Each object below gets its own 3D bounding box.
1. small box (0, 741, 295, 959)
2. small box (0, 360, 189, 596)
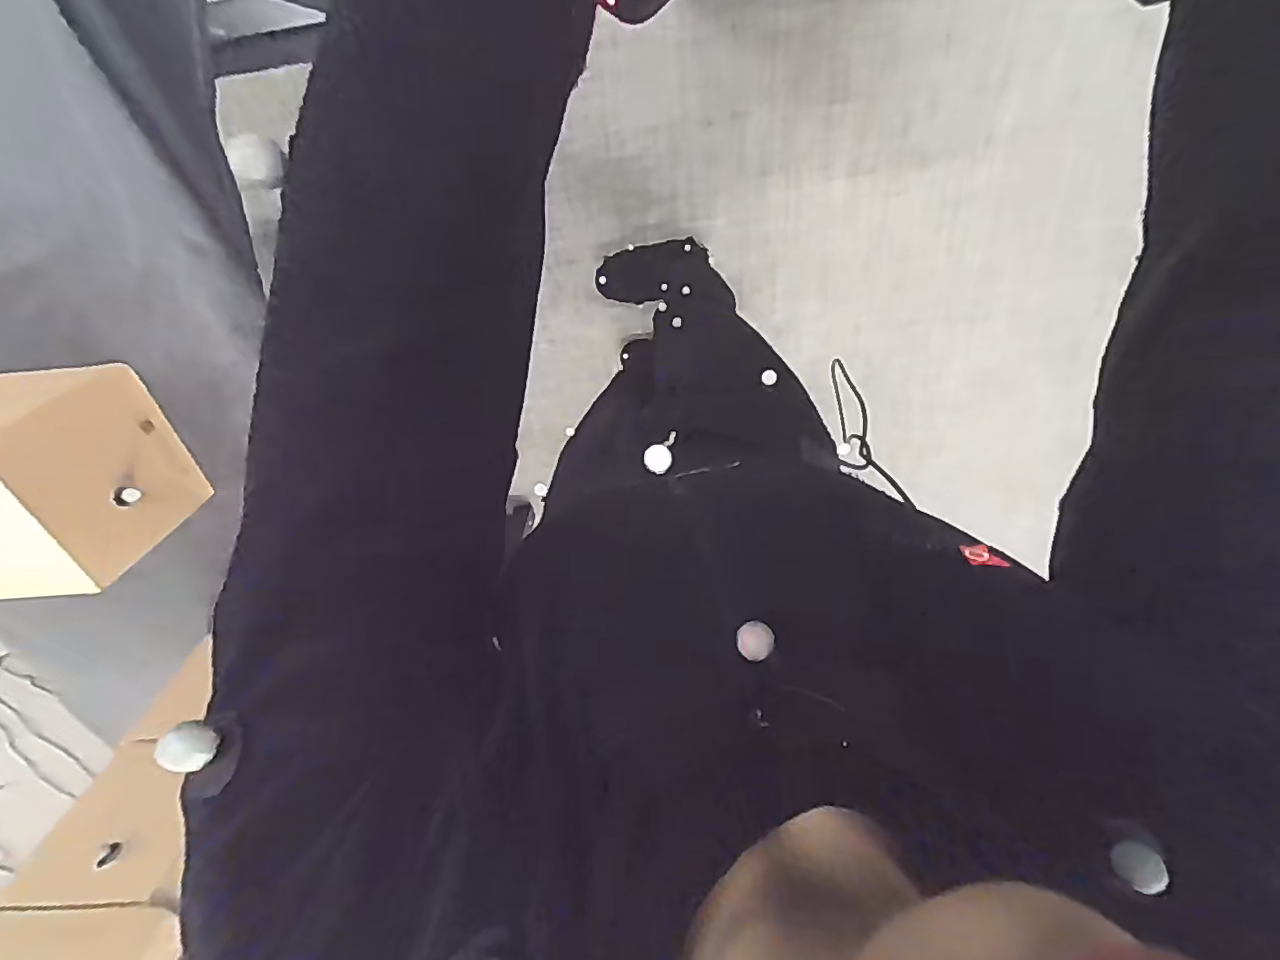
[{"bbox_3d":[-0.533,0.417,0.612,0.179,0.176,0.168,-6,123,4],"label":"small box"},{"bbox_3d":[-0.597,-0.006,0.525,0.179,0.176,0.168,-4,125,4],"label":"small box"}]
